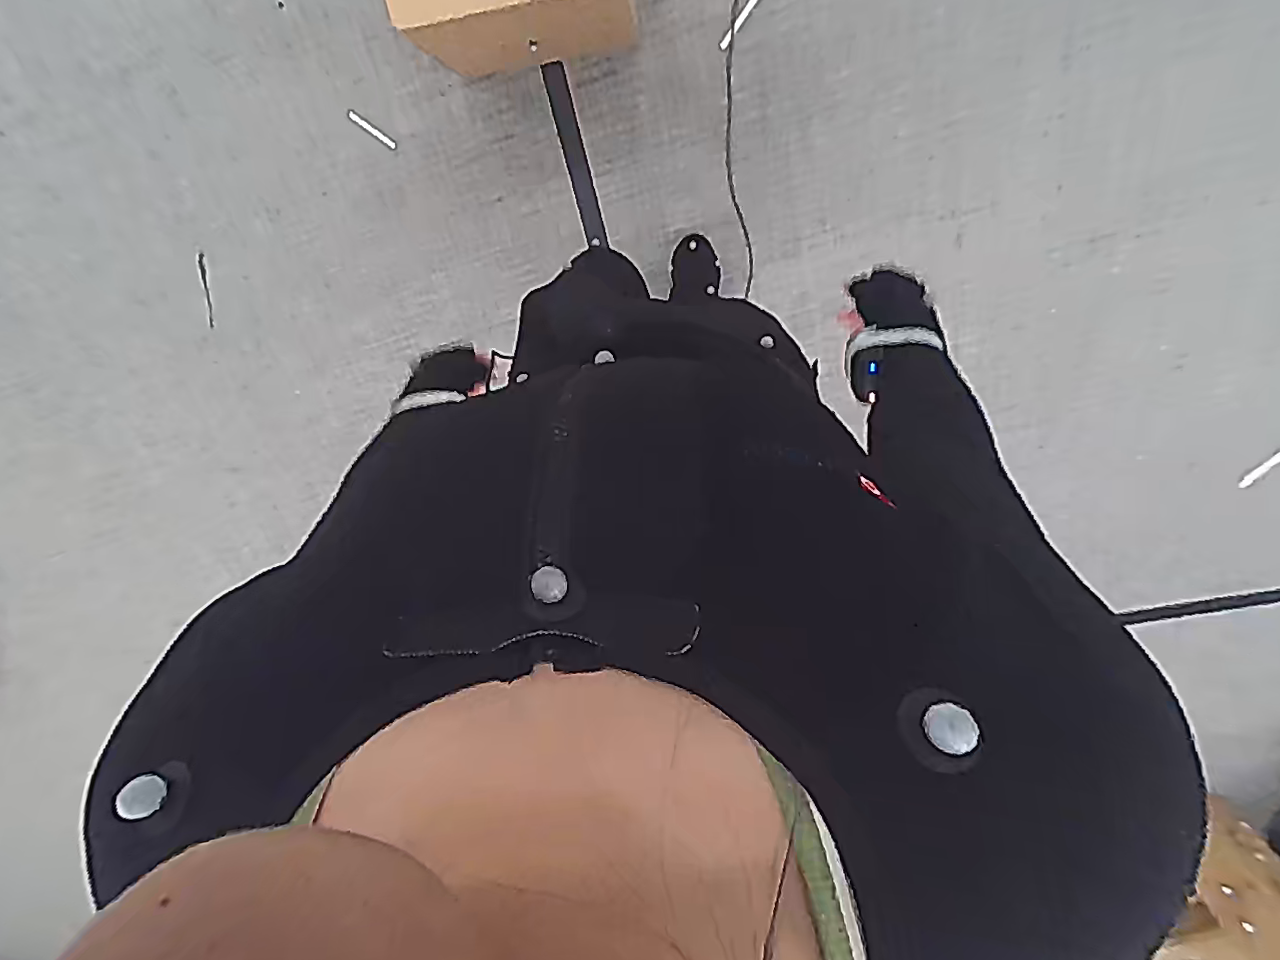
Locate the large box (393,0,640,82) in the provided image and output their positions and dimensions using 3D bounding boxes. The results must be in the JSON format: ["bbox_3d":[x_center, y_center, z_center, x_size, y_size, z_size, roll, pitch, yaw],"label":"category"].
[{"bbox_3d":[-0.227,-0.986,0.986,0.408,0.320,0.320,-5,113,8],"label":"large box"}]
